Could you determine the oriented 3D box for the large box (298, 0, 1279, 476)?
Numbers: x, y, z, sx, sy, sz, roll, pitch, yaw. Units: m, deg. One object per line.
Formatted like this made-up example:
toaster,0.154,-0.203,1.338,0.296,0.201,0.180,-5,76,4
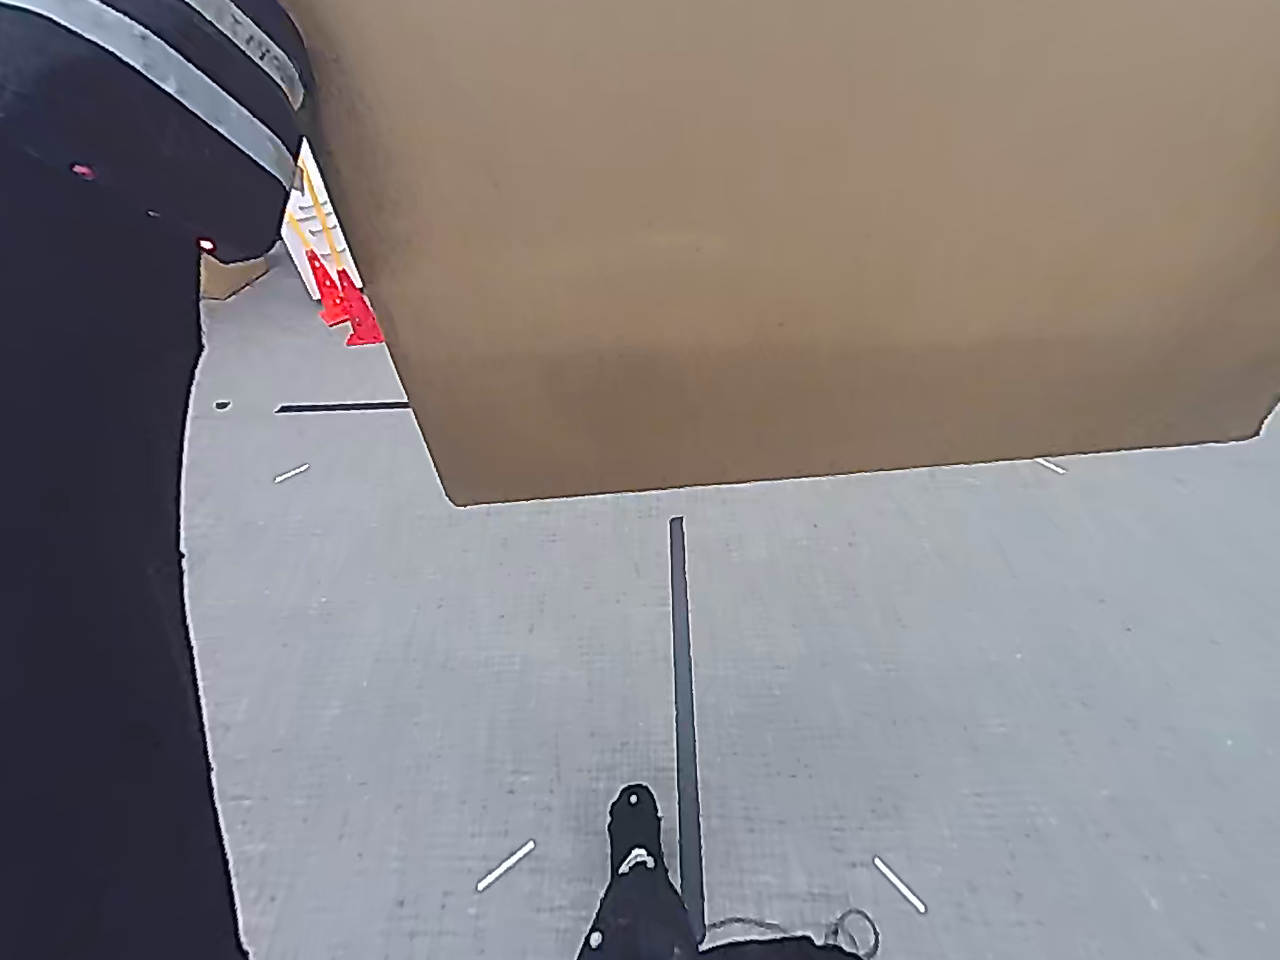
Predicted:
large box,0.082,-0.223,0.307,0.408,0.320,0.320,-4,38,0
